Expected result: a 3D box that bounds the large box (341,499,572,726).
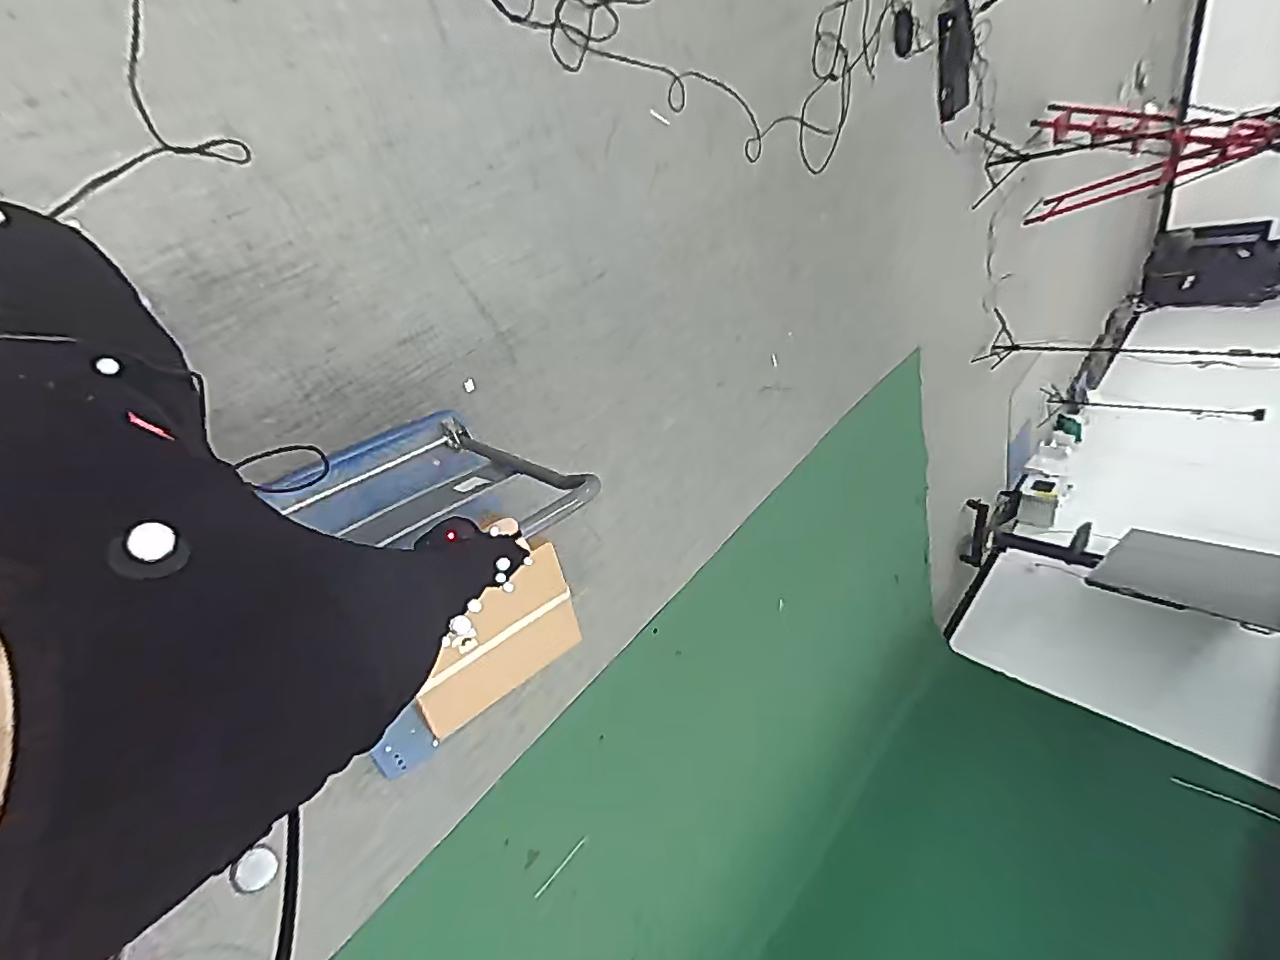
[{"bbox_3d":[-0.445,0.297,1.344,0.408,0.320,0.320,-29,120,-32],"label":"large box"}]
